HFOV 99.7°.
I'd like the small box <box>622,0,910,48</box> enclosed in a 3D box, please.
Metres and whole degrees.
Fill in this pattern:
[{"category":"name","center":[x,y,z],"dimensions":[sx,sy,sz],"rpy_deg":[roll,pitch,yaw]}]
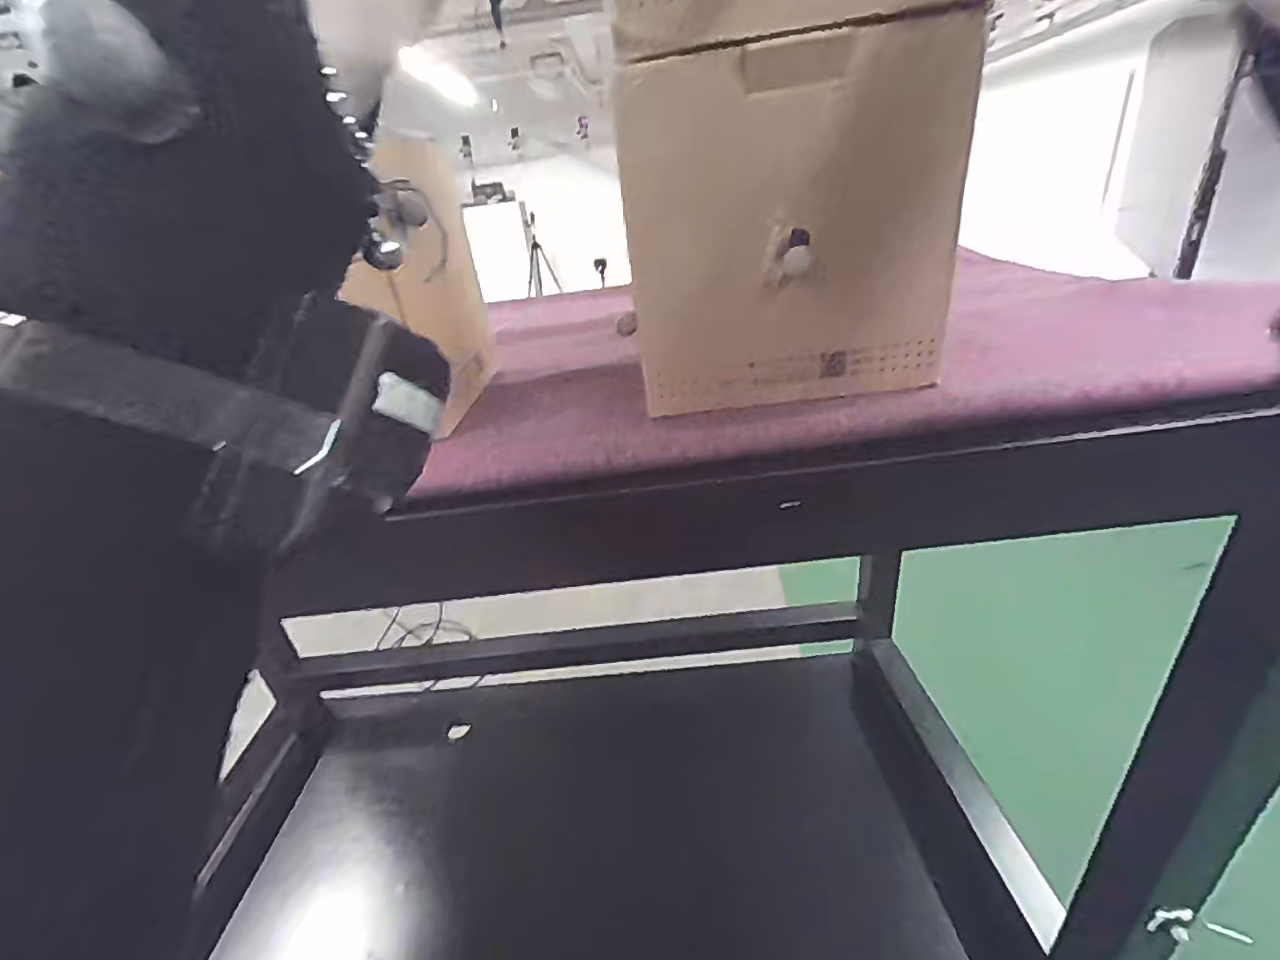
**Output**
[{"category":"small box","center":[0.067,-0.306,0.263],"dimensions":[0.168,0.176,0.179],"rpy_deg":[-6,28,7]}]

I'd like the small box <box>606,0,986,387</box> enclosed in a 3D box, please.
[{"category":"small box","center":[0.078,-0.162,0.340],"dimensions":[0.168,0.176,0.179],"rpy_deg":[-6,28,4]}]
